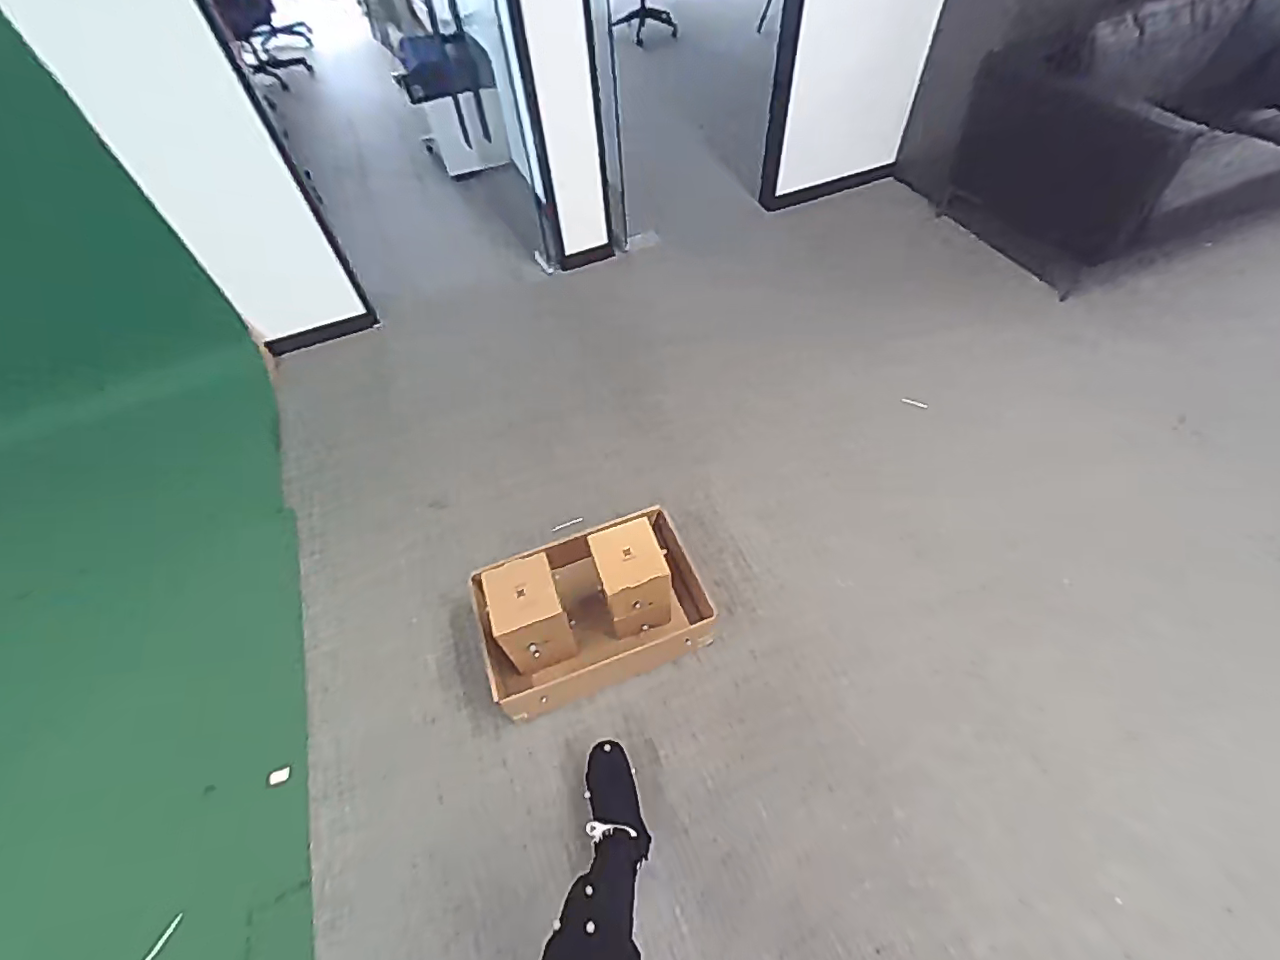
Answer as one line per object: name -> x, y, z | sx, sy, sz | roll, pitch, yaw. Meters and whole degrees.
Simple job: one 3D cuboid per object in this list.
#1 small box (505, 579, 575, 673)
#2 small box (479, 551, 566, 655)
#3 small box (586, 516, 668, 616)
small box -> -0.288, 0.406, 1.498 | 0.168, 0.176, 0.179 | -17, 55, -9
small box -> -0.293, 0.312, 1.365 | 0.168, 0.176, 0.179 | -17, 56, -10
small box -> -0.034, 0.228, 1.415 | 0.168, 0.176, 0.179 | -18, 56, -9
